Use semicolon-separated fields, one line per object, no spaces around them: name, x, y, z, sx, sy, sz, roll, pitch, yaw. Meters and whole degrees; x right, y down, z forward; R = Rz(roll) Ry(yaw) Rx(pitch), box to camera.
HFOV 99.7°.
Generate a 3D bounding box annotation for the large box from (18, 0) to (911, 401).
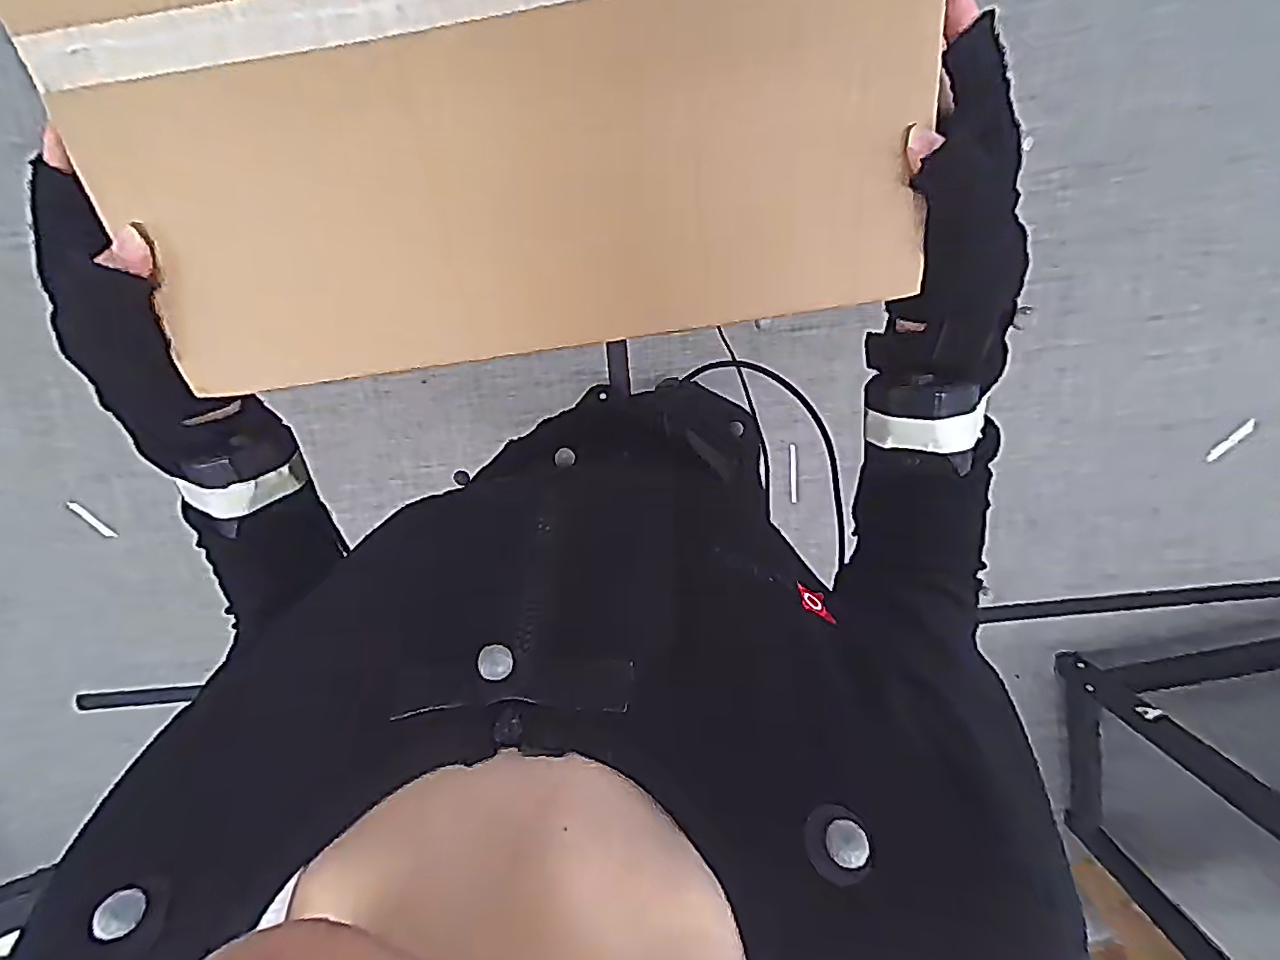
large box;-0.075;-0.275;0.381;0.408;0.320;0.320;-8;114;3
